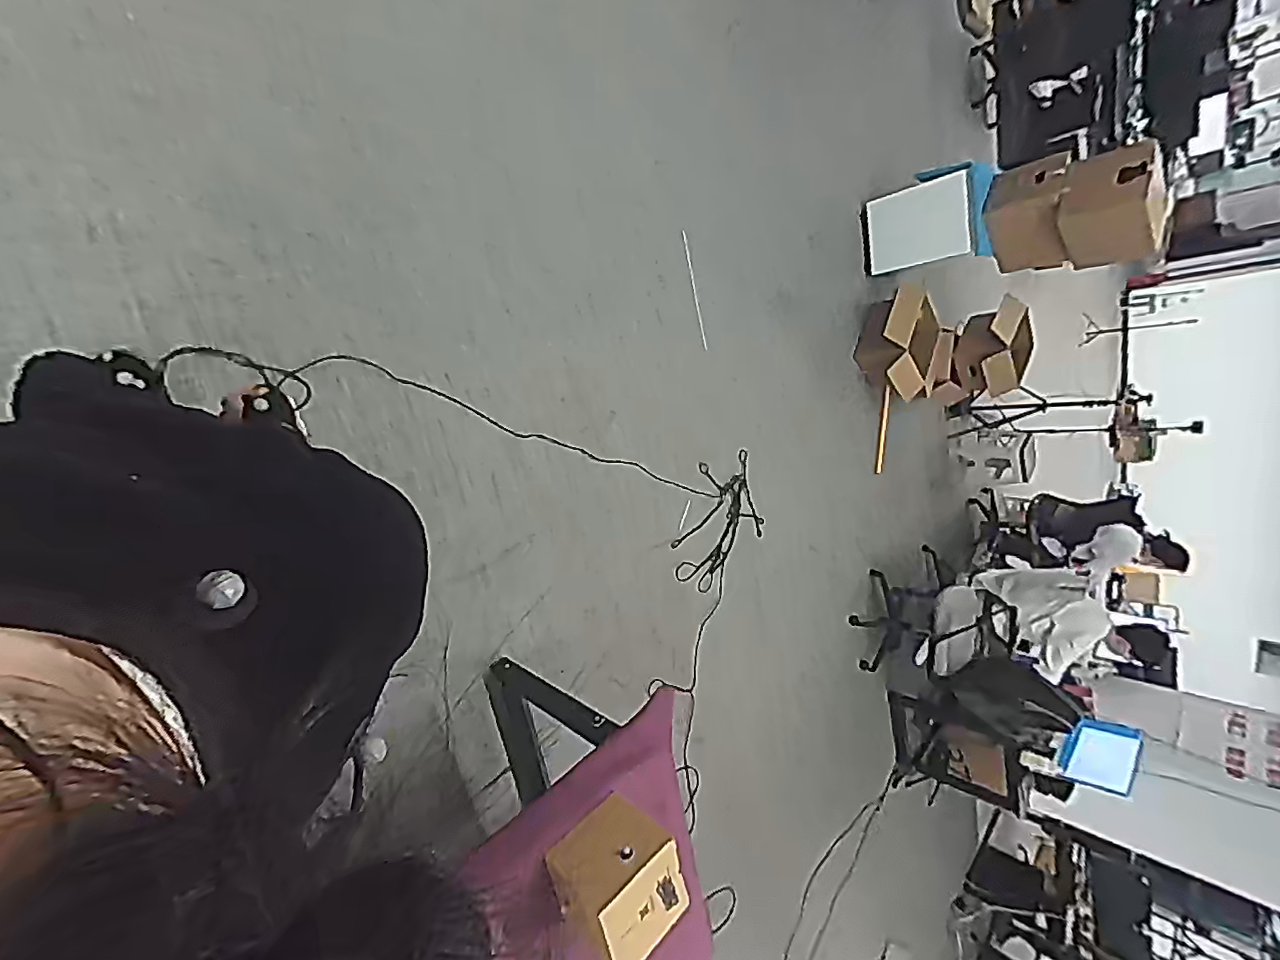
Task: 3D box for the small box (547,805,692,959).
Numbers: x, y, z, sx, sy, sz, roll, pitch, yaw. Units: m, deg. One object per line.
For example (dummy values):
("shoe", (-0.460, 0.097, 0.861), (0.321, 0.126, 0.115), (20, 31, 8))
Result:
("small box", (-0.036, 0.733, 0.965), (0.179, 0.176, 0.168), (-24, 109, -38))
